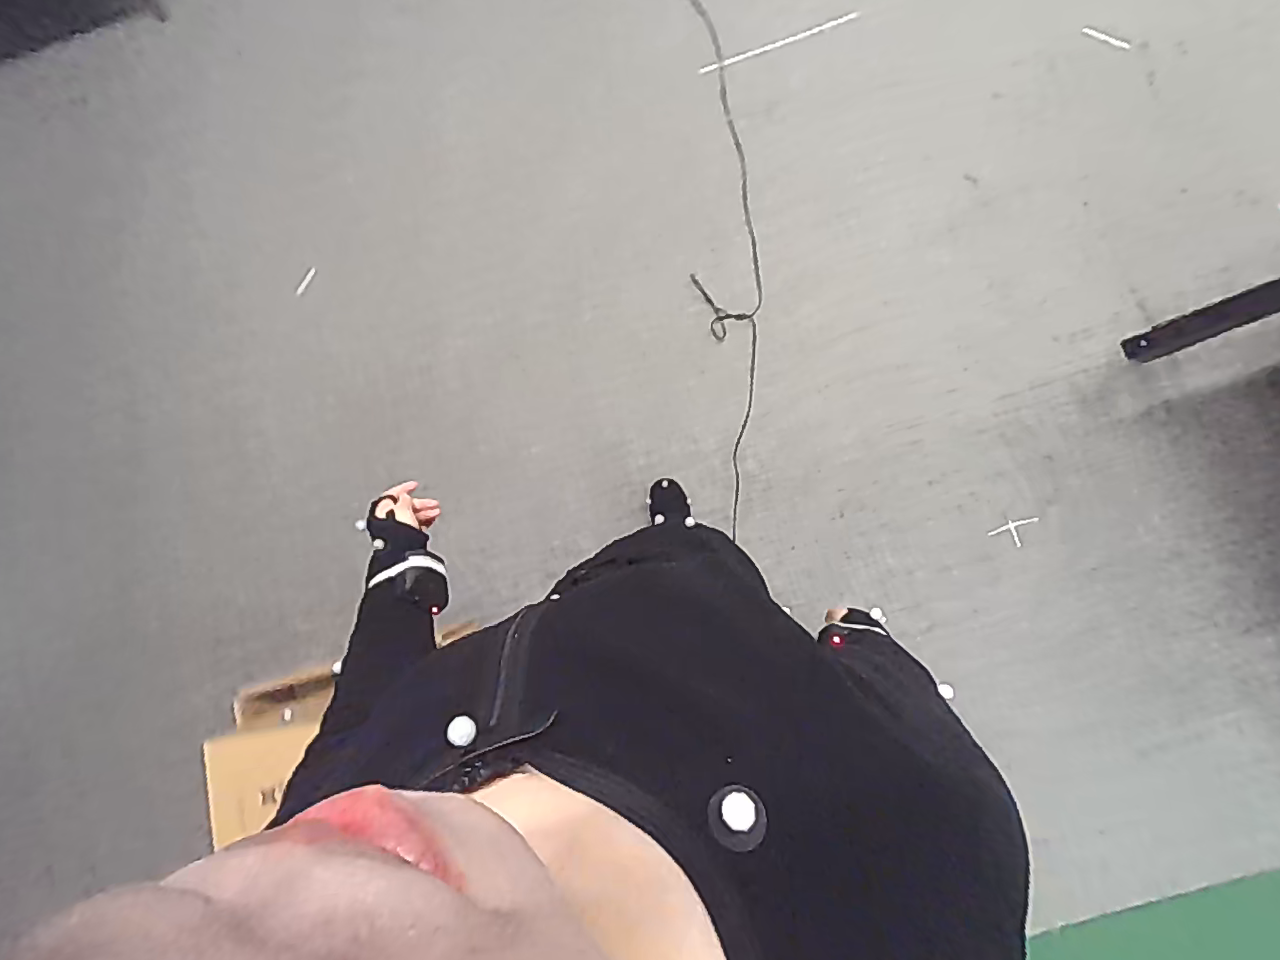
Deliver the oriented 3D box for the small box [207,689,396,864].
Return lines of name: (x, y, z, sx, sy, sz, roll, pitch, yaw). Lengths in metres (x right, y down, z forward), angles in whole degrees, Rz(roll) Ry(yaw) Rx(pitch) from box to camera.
small box: (-0.481, 0.422, 0.797, 0.179, 0.176, 0.168, -10, 84, 4)
